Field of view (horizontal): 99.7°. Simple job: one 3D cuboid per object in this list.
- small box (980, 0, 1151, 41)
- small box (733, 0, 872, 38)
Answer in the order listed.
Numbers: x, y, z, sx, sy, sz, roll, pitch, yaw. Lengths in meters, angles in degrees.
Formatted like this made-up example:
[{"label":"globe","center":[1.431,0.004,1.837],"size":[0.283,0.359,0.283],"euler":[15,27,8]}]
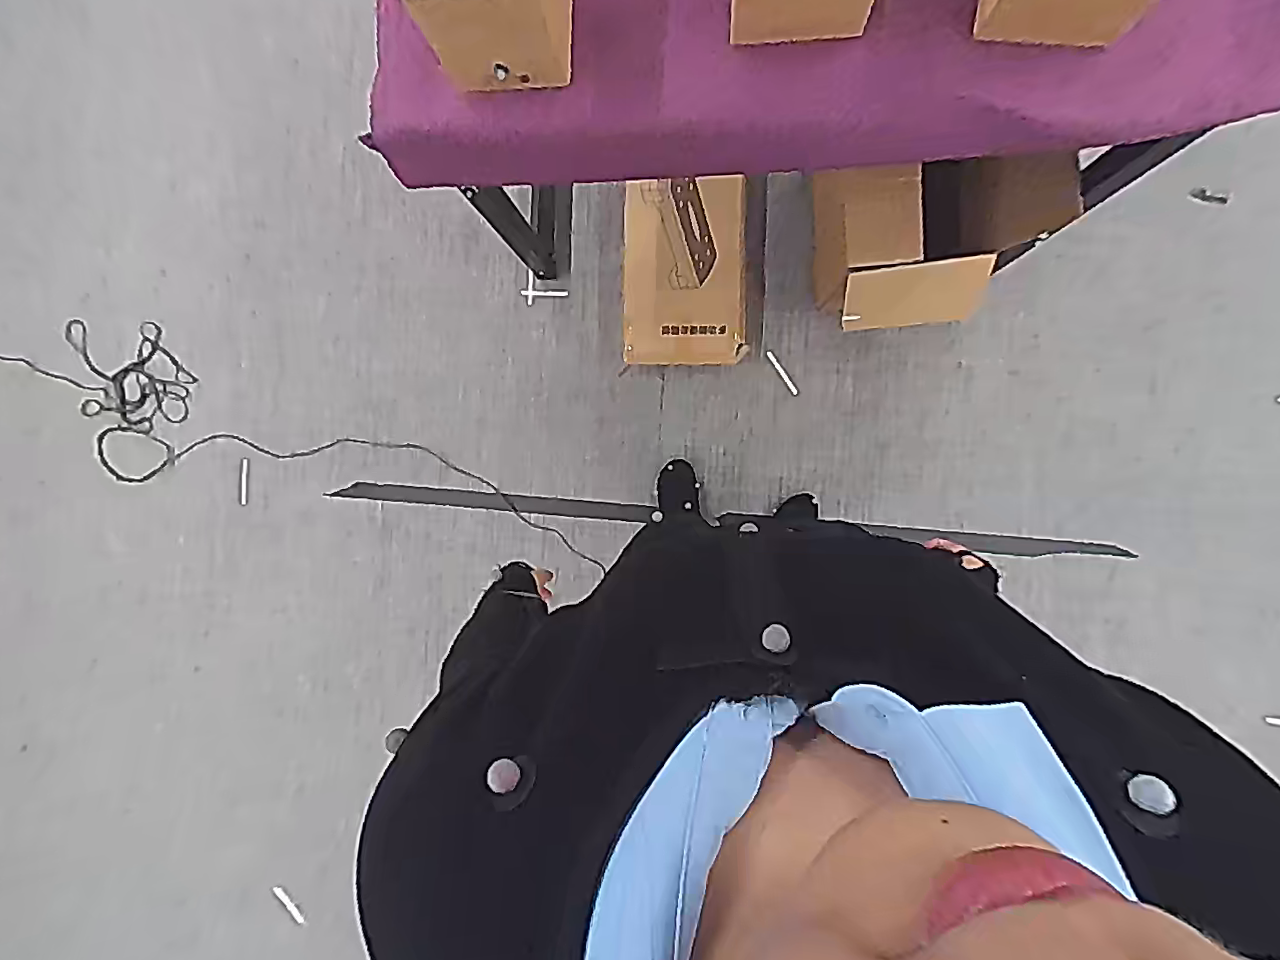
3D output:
[{"label":"small box","center":[0.523,-0.644,0.611],"size":[0.179,0.176,0.168],"euler":[8,93,6]},{"label":"small box","center":[0.208,-0.675,0.644],"size":[0.179,0.176,0.168],"euler":[1,90,6]}]
